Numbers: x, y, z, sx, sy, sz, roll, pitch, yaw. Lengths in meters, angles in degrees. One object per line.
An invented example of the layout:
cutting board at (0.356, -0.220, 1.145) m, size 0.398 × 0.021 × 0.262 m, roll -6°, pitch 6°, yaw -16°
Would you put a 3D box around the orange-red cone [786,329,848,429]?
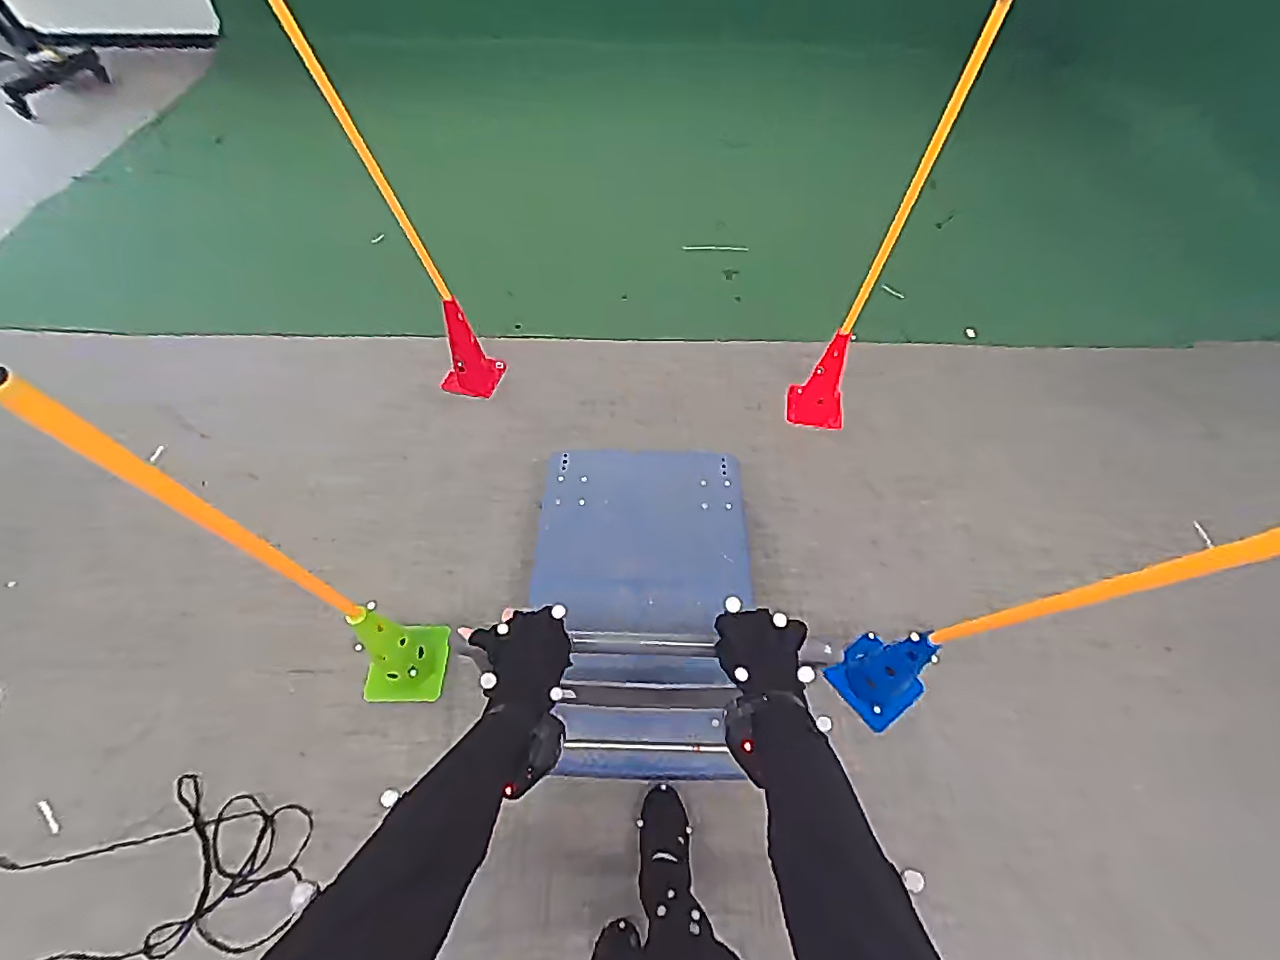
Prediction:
orange-red cone at (0.646, -0.368, 1.864) m, size 0.198 × 0.360 × 0.199 m, roll 10°, pitch 56°, yaw 7°
